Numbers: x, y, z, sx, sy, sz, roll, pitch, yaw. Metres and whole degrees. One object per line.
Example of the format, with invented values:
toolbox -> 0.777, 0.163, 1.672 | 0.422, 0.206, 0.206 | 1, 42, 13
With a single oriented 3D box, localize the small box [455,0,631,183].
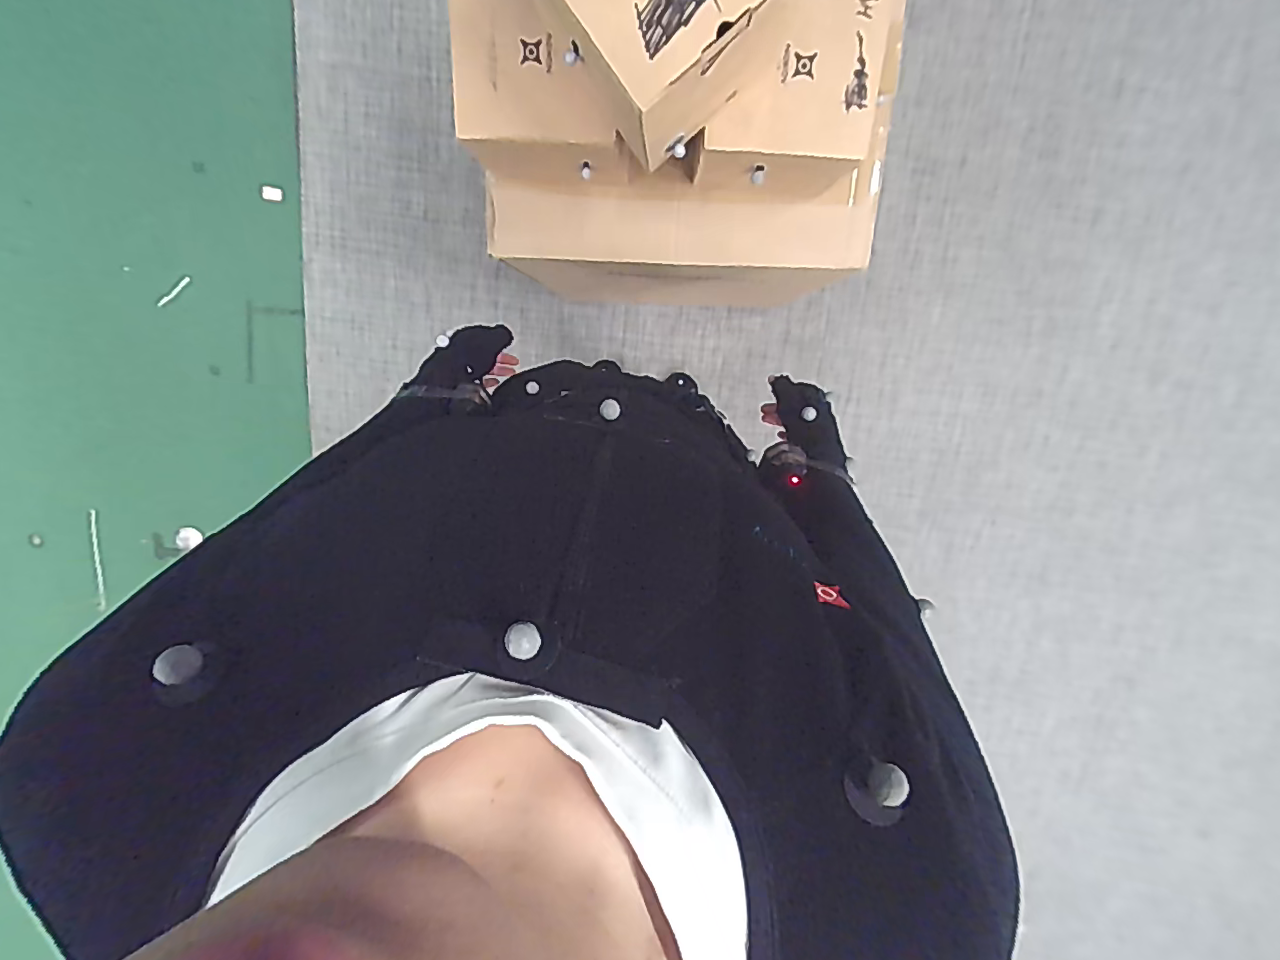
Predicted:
small box -> -0.099, -0.462, 0.632 | 0.179, 0.176, 0.168 | 2, 104, 3

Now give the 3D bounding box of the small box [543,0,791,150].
small box -> 0.020, -0.424, 0.467 | 0.168, 0.176, 0.179 | -37, 100, 11

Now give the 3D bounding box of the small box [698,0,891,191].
small box -> 0.162, -0.447, 0.626 | 0.179, 0.176, 0.168 | 5, 107, 2
